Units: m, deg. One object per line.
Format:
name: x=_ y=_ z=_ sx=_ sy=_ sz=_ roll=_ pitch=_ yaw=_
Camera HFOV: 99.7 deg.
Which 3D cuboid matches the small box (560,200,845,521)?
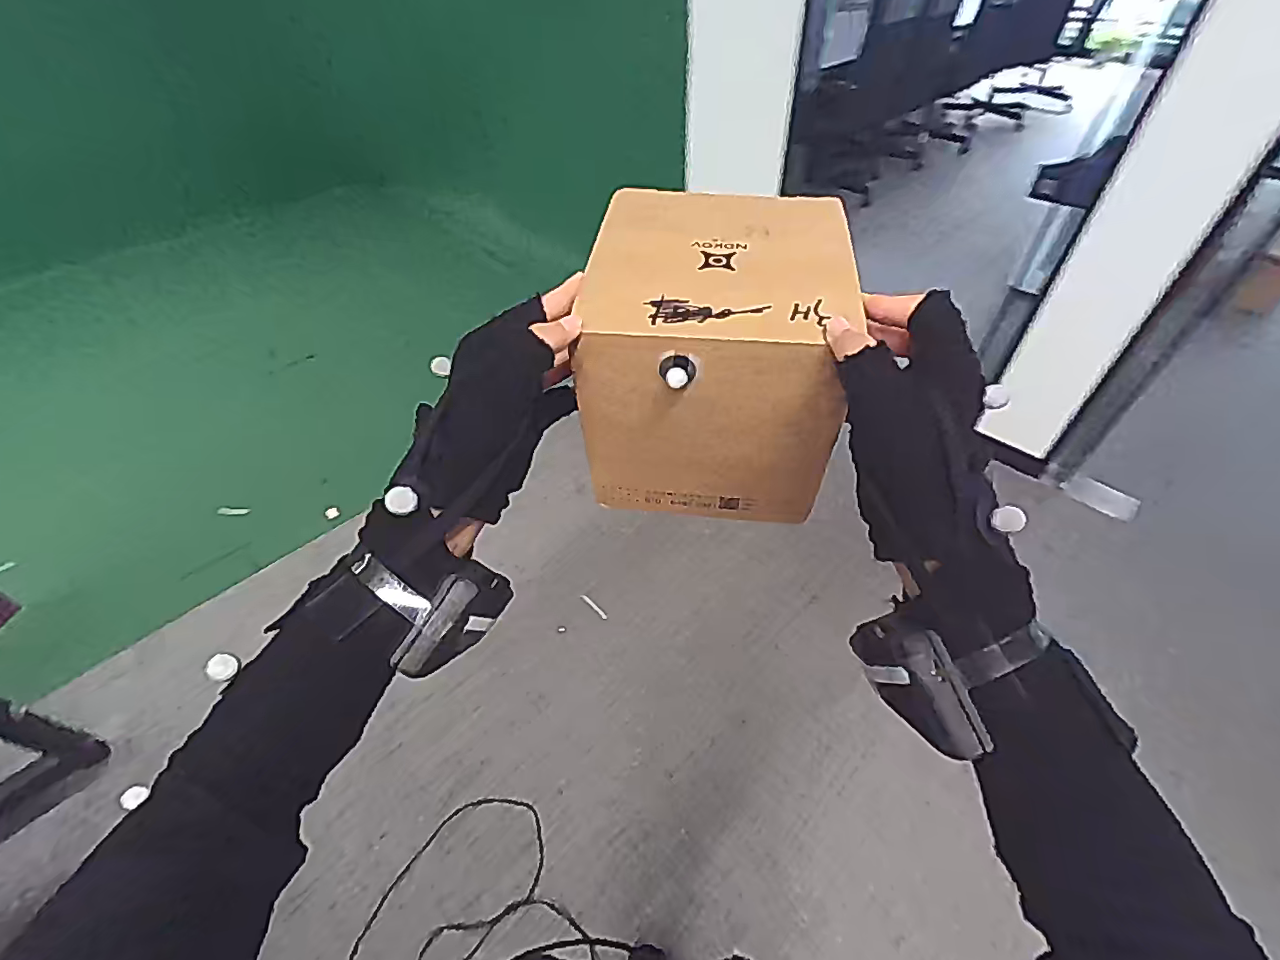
small box: x=0.047 y=-0.093 z=0.419 sx=0.168 sy=0.176 sz=0.179 roll=5 pitch=50 yaw=7
